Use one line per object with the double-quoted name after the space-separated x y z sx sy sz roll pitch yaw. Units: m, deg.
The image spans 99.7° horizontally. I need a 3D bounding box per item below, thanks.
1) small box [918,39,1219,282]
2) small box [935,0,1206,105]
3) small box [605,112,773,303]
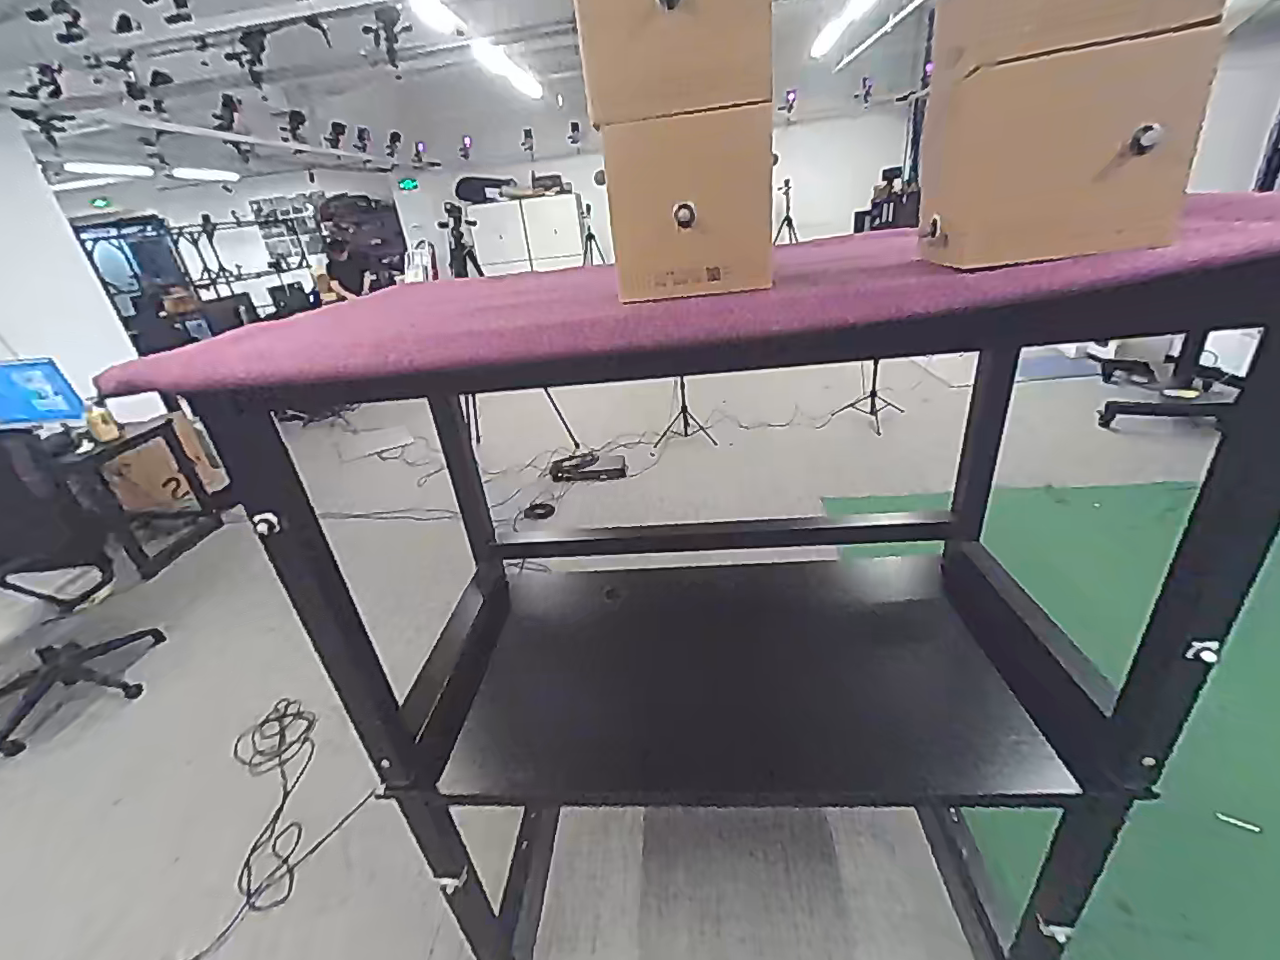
0.404 -0.307 0.552 0.179 0.176 0.168 -3 23 12 "small box"
0.383 -0.457 0.493 0.179 0.176 0.168 -1 24 14 "small box"
0.062 -0.304 0.627 0.168 0.176 0.179 -2 26 7 "small box"
